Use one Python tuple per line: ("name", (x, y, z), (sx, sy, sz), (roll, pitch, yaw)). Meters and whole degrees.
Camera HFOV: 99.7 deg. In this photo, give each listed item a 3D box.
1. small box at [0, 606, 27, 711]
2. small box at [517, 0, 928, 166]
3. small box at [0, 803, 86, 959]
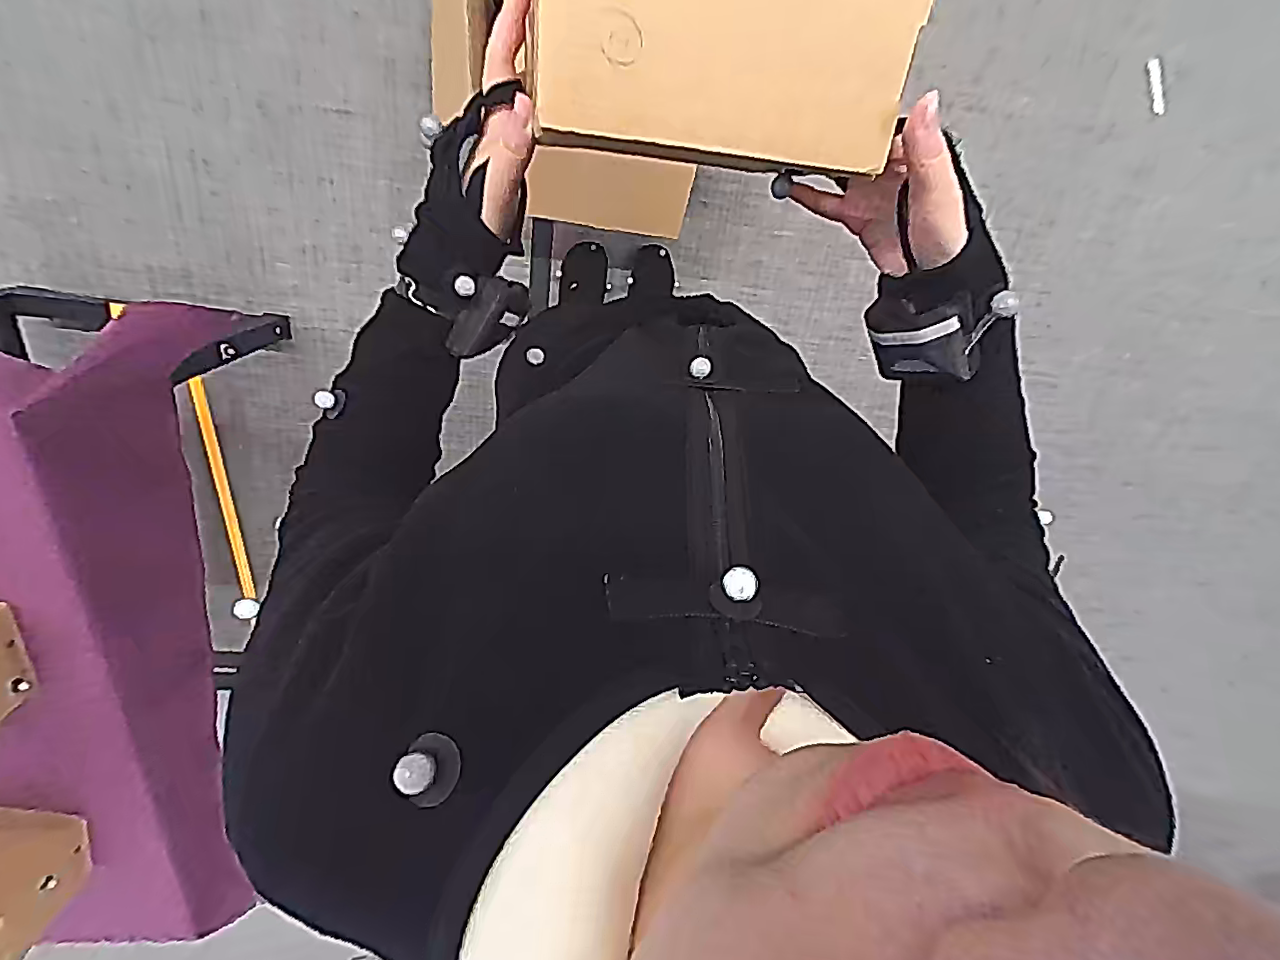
("small box", (-0.988, 0.267, 0.716), (0.179, 0.176, 0.168), (8, 115, -9))
("small box", (0.028, -0.266, 0.278), (0.179, 0.176, 0.168), (-1, 121, -15))
("small box", (-1.089, 0.677, 0.909), (0.179, 0.176, 0.168), (16, 113, -13))
